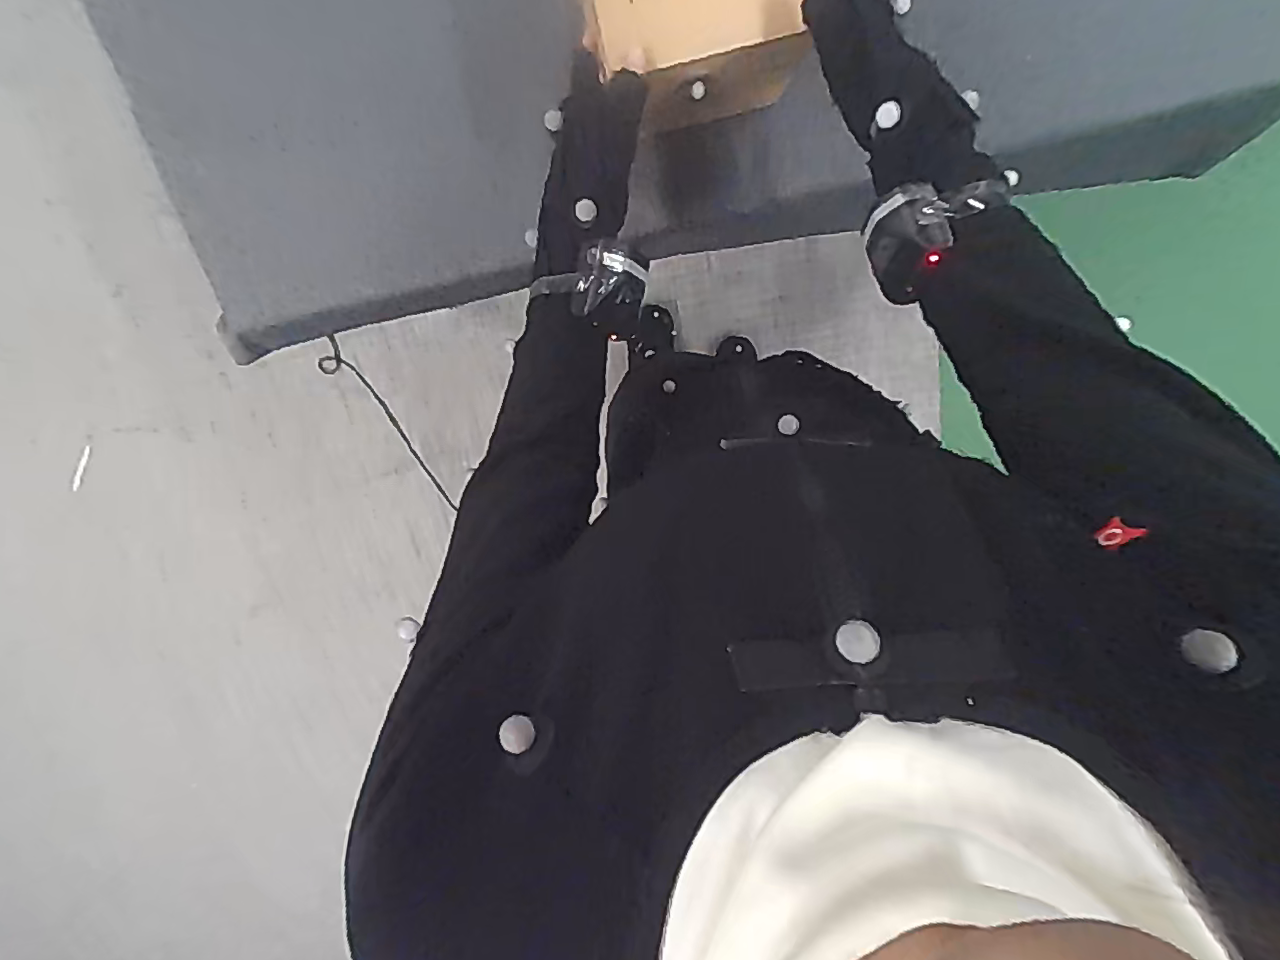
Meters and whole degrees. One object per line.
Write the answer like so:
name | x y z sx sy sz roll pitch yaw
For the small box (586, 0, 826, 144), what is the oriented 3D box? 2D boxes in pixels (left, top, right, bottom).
small box | 0.042 -0.425 0.477 0.179 0.176 0.168 -13 107 2
